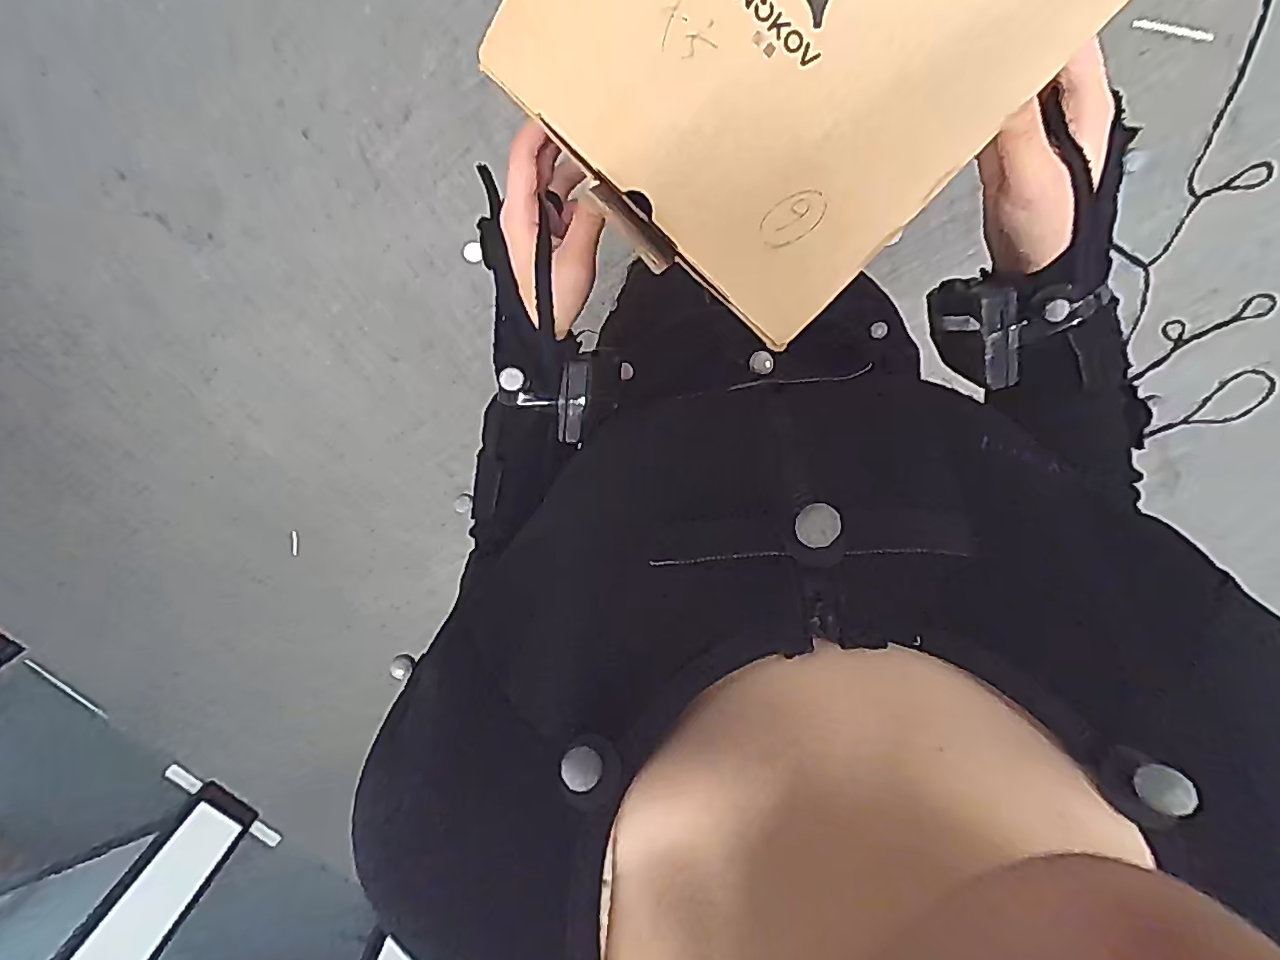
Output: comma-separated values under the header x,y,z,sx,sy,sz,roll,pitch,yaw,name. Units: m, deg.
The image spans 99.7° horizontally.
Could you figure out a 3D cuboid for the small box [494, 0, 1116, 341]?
x,y,z,sx,sy,sz,roll,pitch,yaw,name
0.068,-0.199,0.269,0.168,0.176,0.179,41,114,-8,small box
